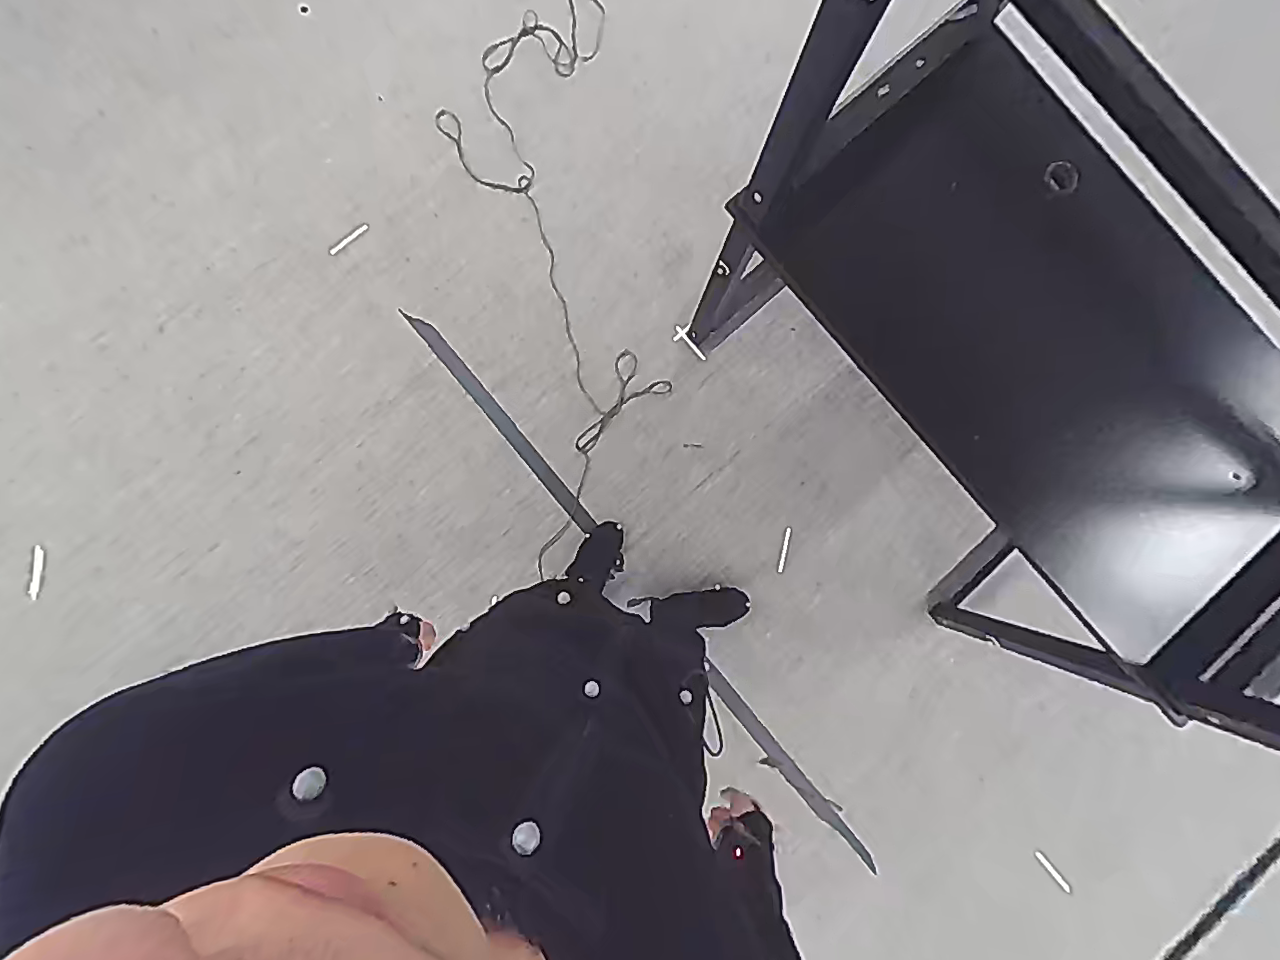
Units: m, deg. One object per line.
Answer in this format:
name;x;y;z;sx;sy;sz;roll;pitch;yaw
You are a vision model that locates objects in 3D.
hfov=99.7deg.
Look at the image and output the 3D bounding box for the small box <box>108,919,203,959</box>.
small box;-0.883;0.911;0.905;0.179;0.176;0.168;-44;92;-3
